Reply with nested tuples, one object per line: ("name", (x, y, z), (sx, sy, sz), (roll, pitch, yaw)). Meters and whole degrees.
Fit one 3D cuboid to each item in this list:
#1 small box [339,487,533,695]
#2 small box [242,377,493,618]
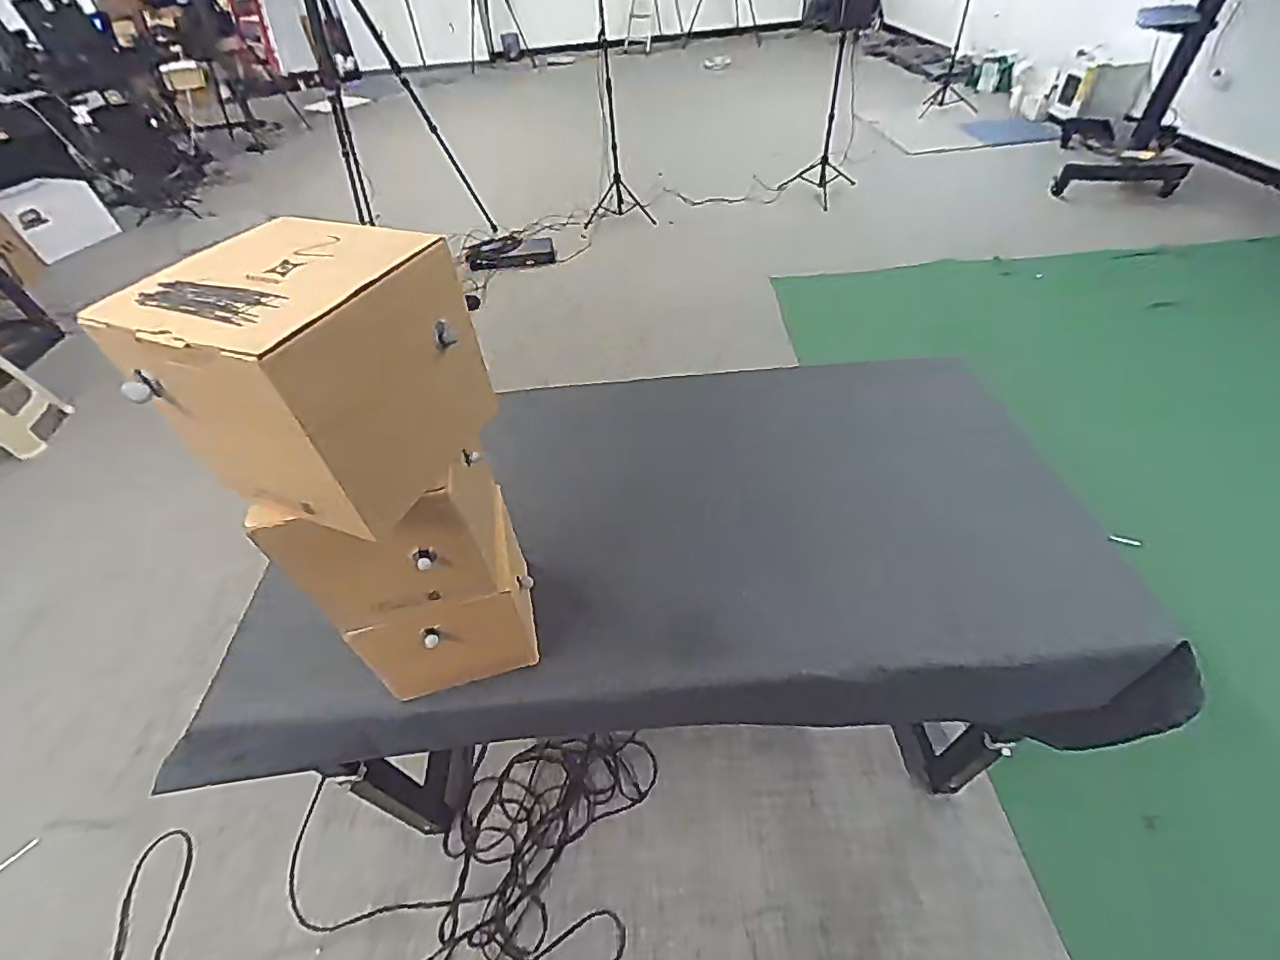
("small box", (-0.235, 0.138, 0.668), (0.179, 0.176, 0.168), (-13, 46, -7))
("small box", (-0.253, 0.023, 0.555), (0.168, 0.176, 0.179), (-11, 45, -6))
